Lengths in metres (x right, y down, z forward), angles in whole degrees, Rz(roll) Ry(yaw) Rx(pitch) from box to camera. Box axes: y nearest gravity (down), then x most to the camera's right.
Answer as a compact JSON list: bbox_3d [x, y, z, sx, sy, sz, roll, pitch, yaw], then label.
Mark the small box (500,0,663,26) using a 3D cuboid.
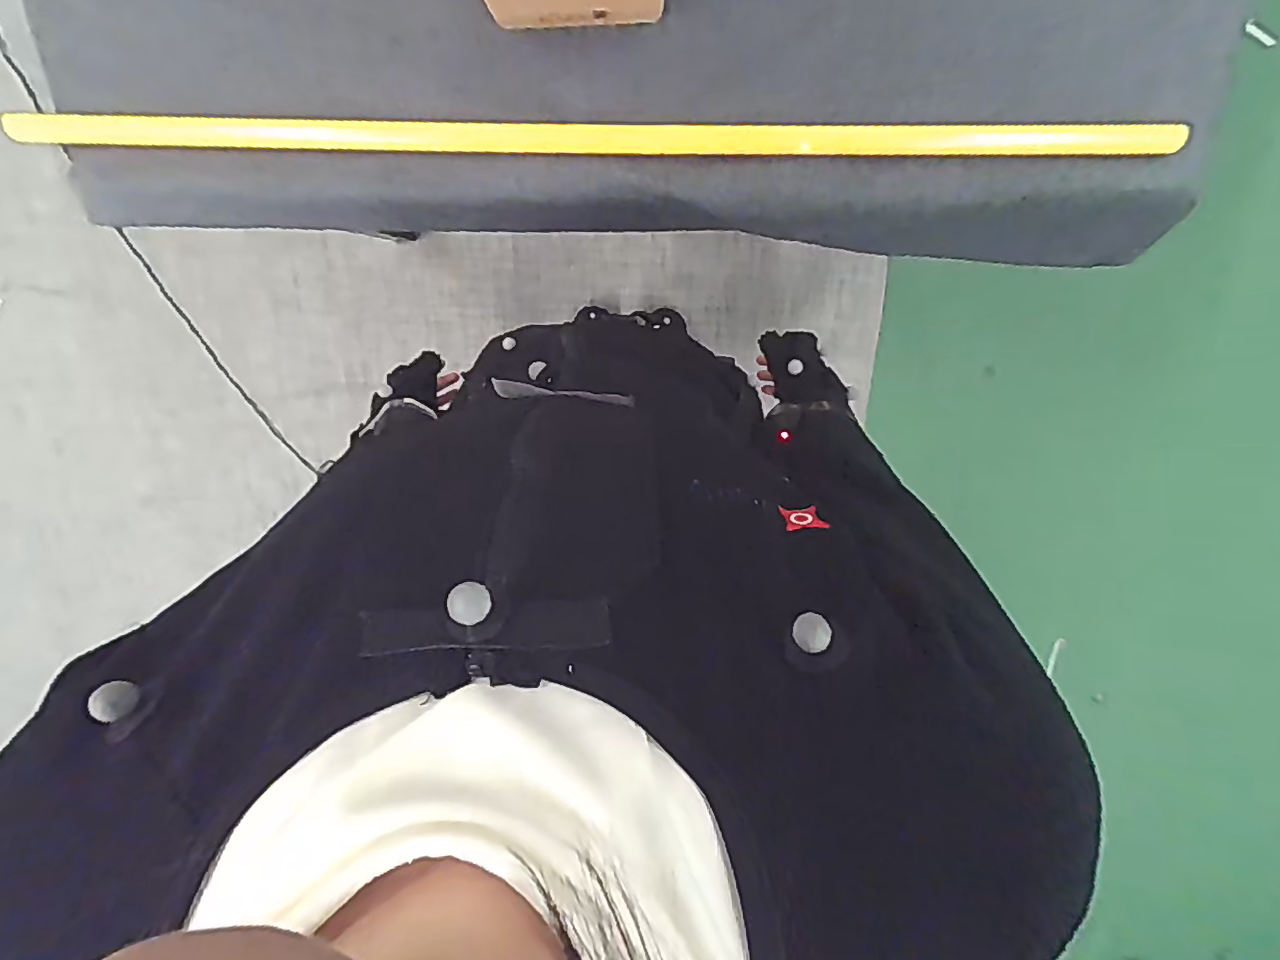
[{"bbox_3d":[-0.062,-0.517,0.439,0.168,0.176,0.179,-1,108,3],"label":"small box"}]
